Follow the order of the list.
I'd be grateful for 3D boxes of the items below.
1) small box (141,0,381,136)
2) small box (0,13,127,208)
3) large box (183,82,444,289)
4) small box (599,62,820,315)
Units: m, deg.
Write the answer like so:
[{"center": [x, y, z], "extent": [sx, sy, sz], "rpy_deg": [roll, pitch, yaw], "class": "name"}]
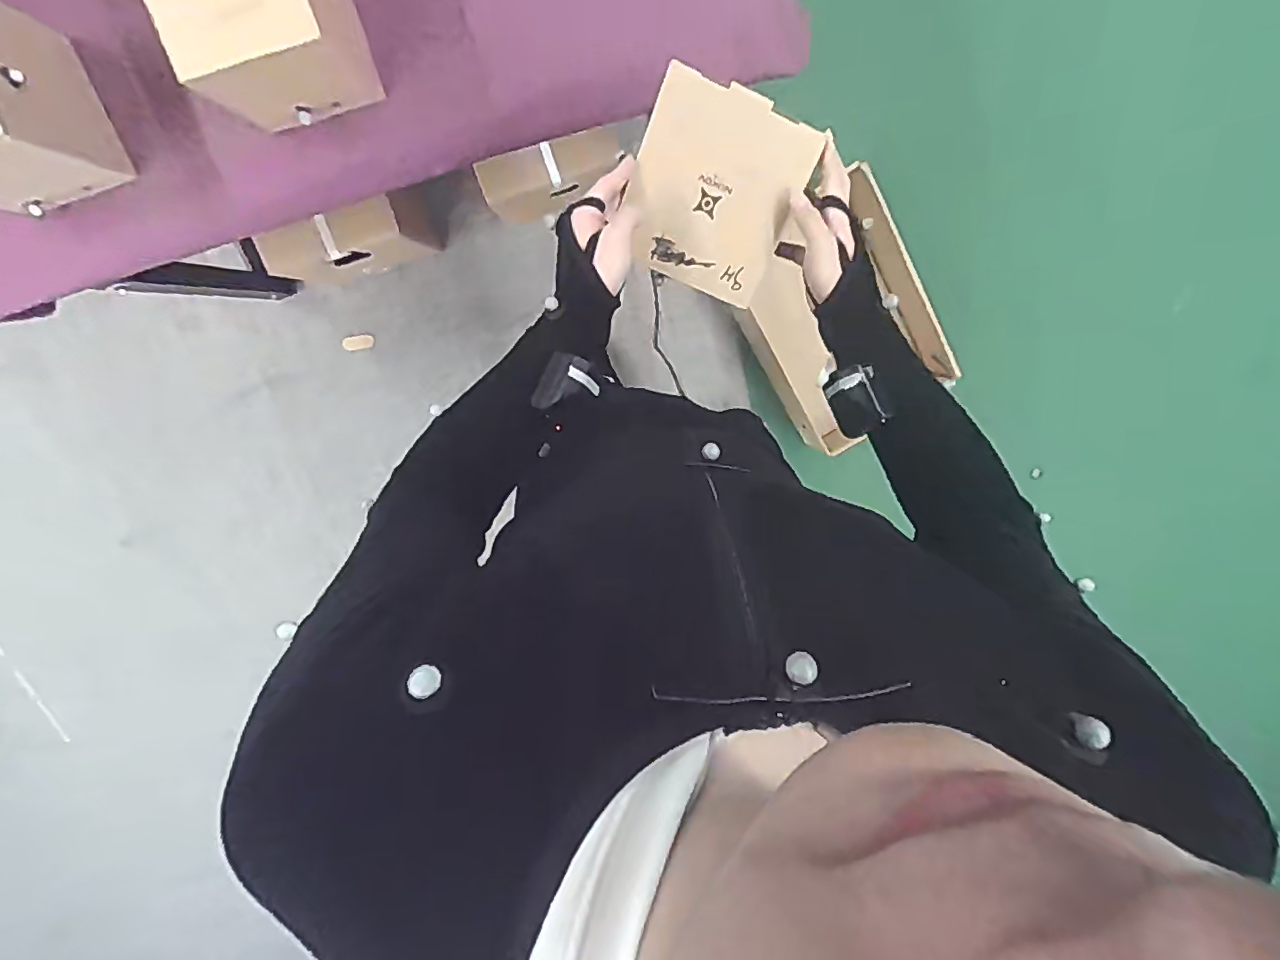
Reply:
[{"center": [-0.439, -0.542, 0.629], "extent": [0.168, 0.176, 0.179], "rpy_deg": [-14, 105, 3], "class": "small box"}, {"center": [-0.787, -0.444, 0.643], "extent": [0.168, 0.176, 0.179], "rpy_deg": [-17, 104, 2], "class": "small box"}, {"center": [-0.717, -0.703, 1.263], "extent": [0.320, 0.320, 0.408], "rpy_deg": [-16, 105, 2], "class": "large box"}, {"center": [0.066, -0.308, 0.602], "extent": [0.168, 0.176, 0.179], "rpy_deg": [22, 113, -6], "class": "small box"}]
